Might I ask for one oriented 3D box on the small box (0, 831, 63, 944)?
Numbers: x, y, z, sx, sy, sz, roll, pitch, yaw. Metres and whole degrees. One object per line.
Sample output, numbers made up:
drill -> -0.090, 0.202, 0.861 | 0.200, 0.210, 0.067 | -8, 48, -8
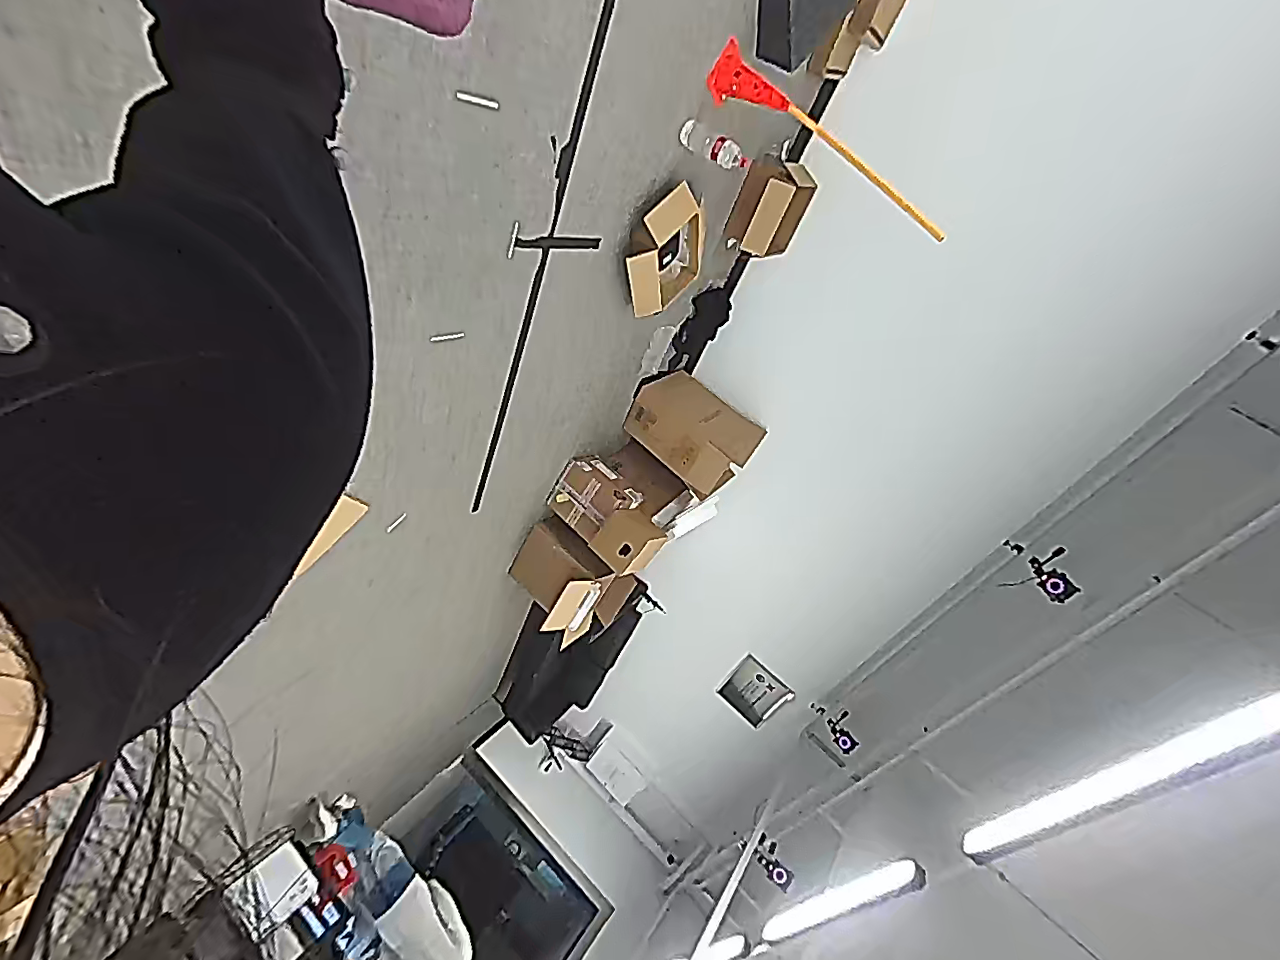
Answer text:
small box -> -1.583, 1.020, 1.327 | 0.179, 0.176, 0.168 | -30, 155, -53
